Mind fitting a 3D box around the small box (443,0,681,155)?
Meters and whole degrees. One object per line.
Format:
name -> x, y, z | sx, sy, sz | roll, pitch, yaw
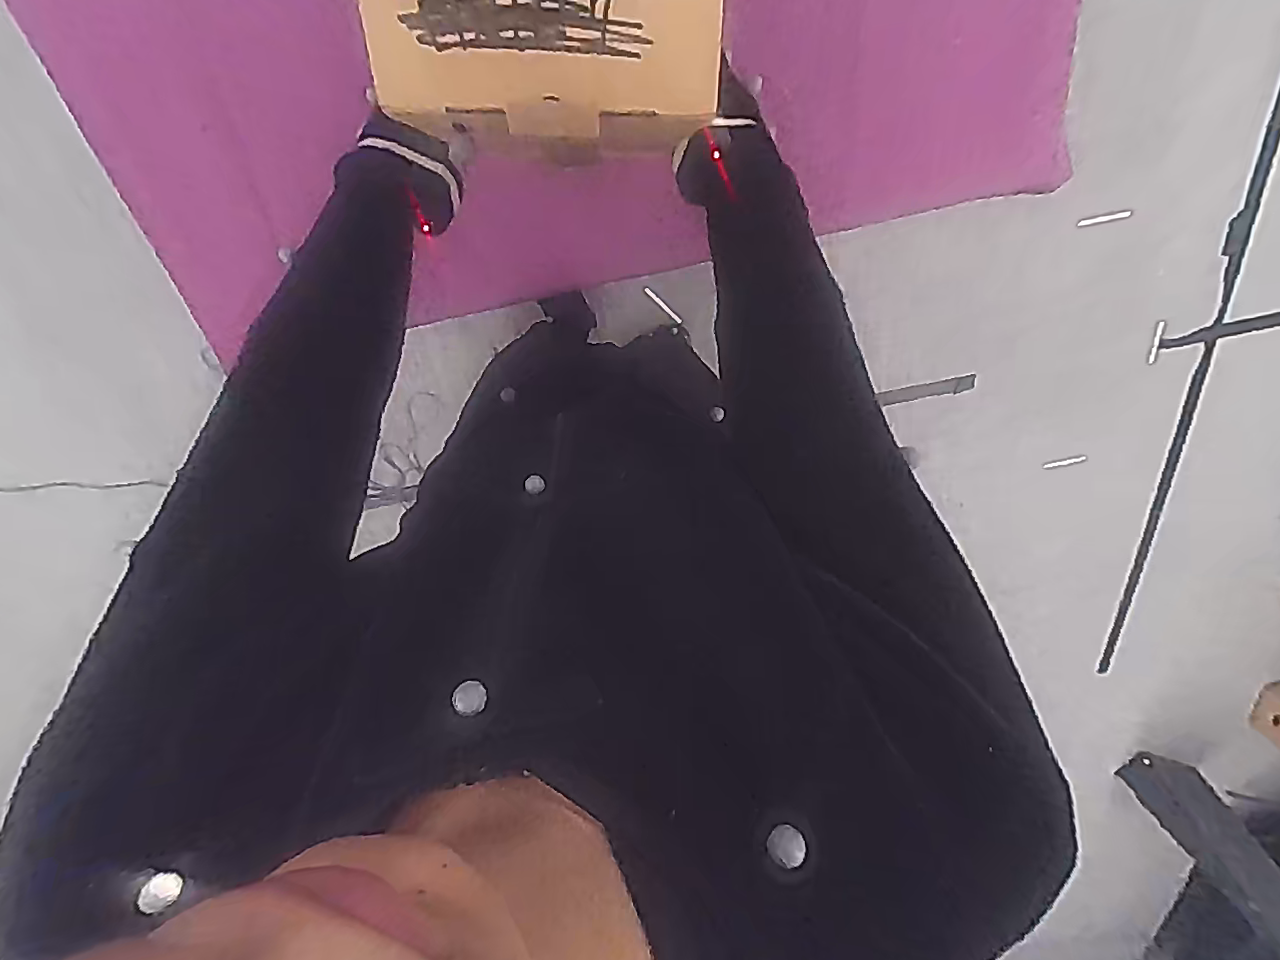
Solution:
small box -> -0.061, -0.373, 0.437 | 0.168, 0.176, 0.179 | -3, 118, -5
